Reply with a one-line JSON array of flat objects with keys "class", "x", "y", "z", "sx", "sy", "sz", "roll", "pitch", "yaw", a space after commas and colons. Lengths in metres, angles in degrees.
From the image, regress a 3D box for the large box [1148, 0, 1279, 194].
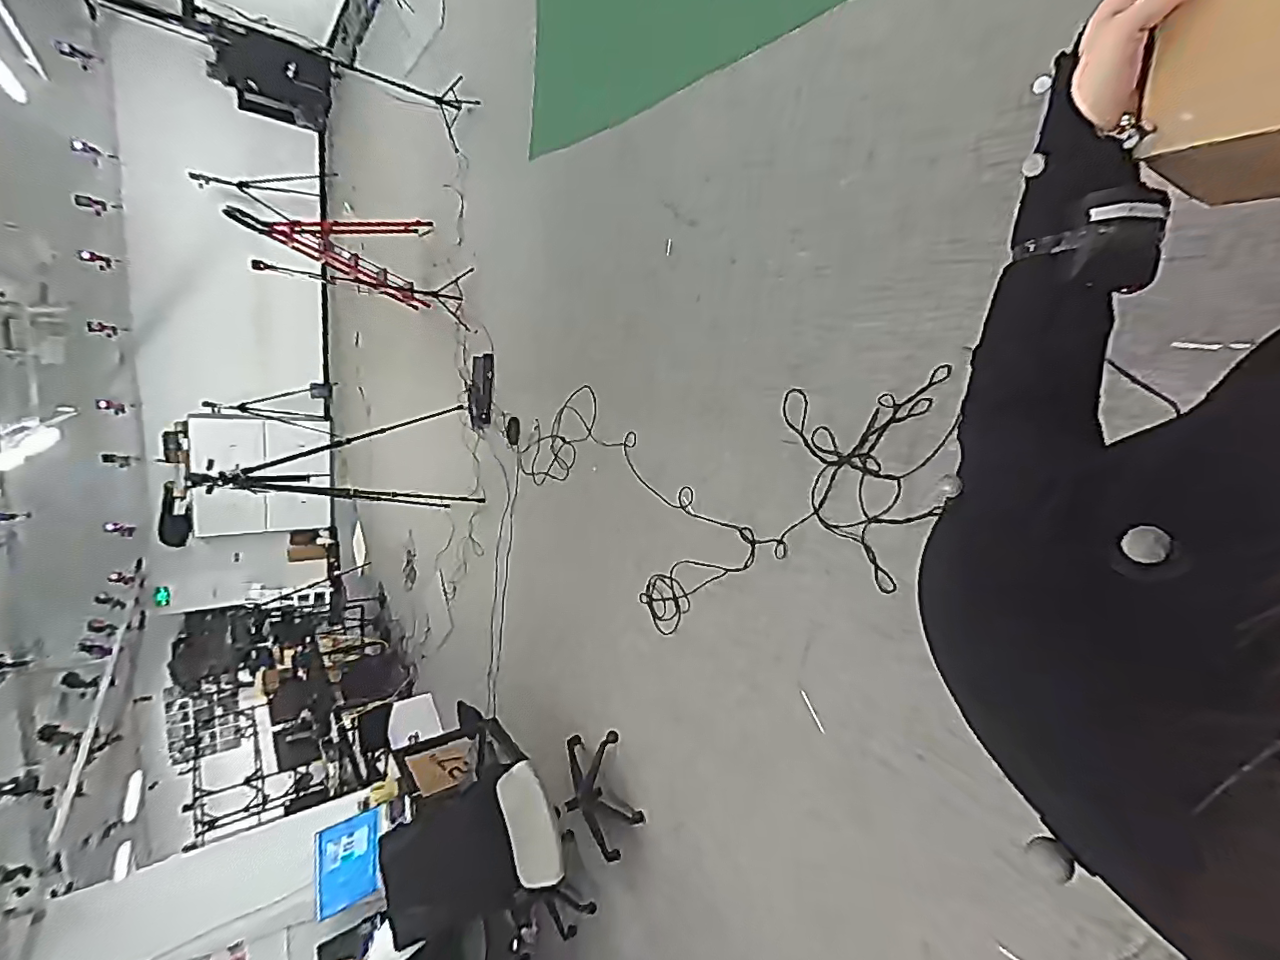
[{"class": "large box", "x": 0.601, "y": -0.379, "z": 0.287, "sx": 0.408, "sy": 0.320, "sz": 0.320, "roll": 16, "pitch": 113, "yaw": 52}]
